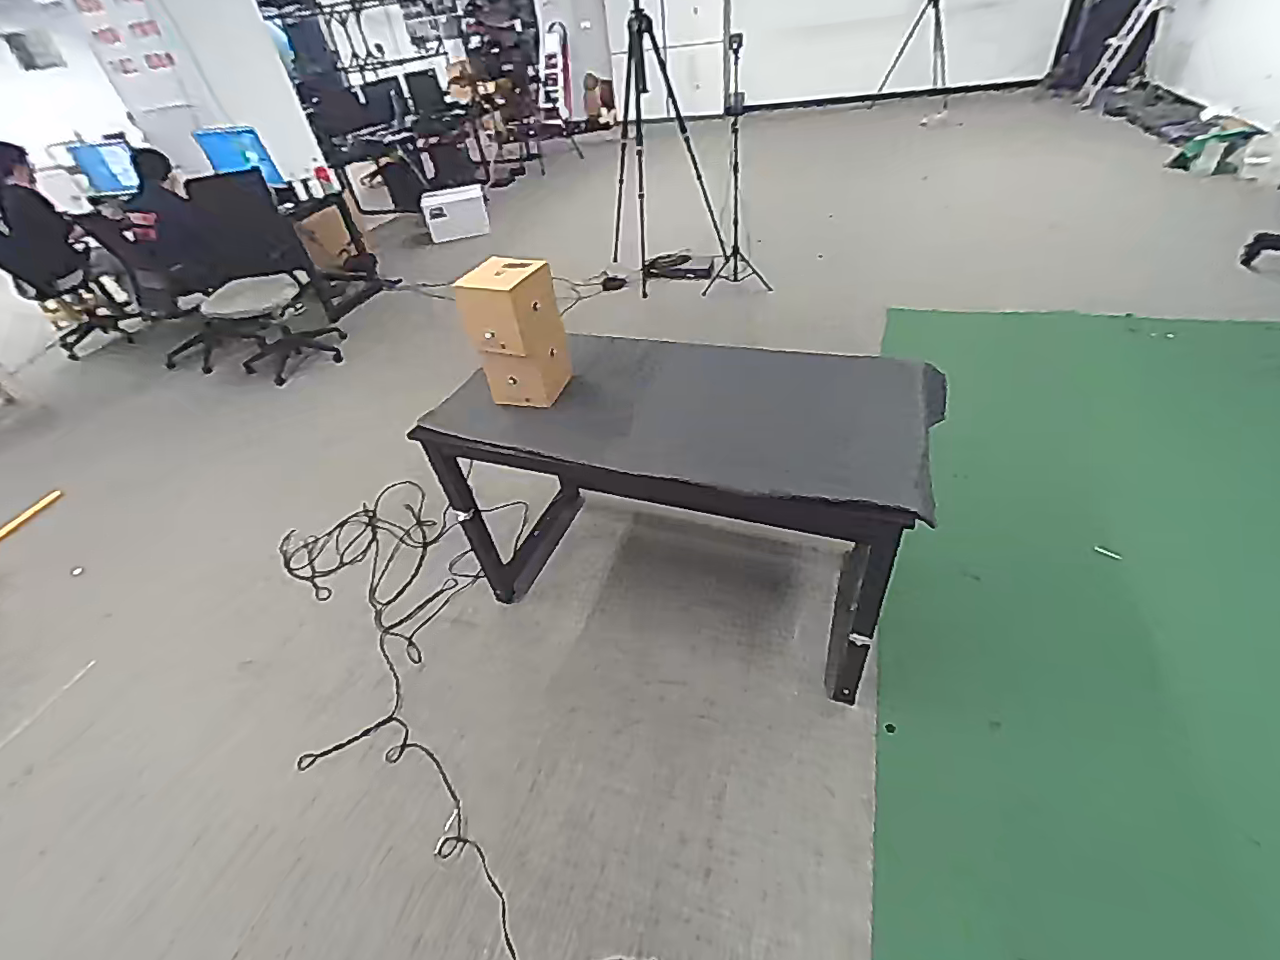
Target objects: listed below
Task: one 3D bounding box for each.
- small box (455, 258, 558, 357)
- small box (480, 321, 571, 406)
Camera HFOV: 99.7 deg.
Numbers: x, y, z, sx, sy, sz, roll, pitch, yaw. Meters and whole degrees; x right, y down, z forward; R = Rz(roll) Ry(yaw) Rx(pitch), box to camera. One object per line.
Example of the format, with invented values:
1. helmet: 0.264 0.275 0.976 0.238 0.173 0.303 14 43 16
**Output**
1. small box: -0.316 -0.427 1.332 0.168 0.176 0.179 13 46 21
2. small box: -0.296 -0.315 1.451 0.168 0.176 0.179 7 43 15
